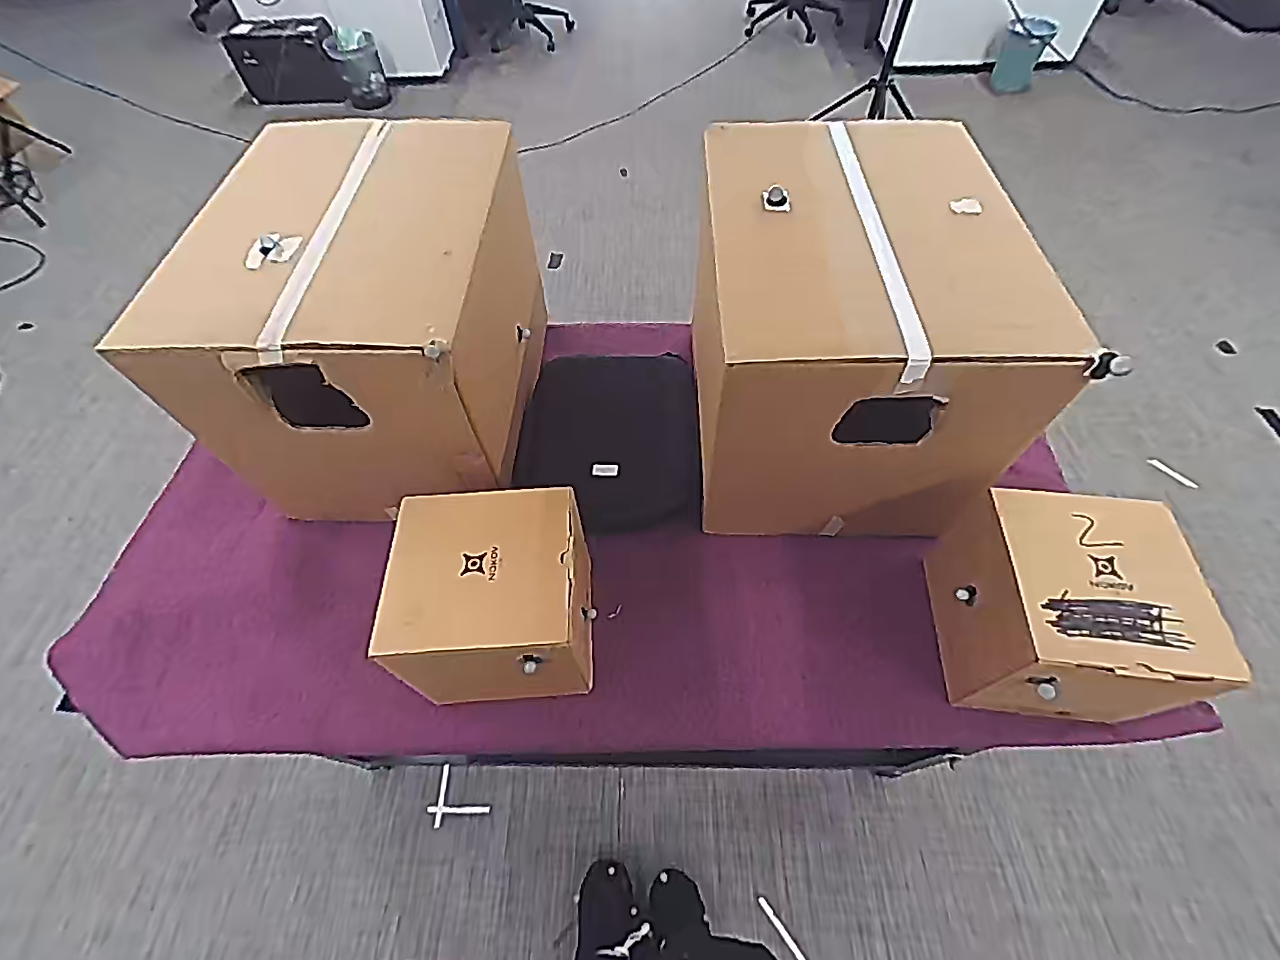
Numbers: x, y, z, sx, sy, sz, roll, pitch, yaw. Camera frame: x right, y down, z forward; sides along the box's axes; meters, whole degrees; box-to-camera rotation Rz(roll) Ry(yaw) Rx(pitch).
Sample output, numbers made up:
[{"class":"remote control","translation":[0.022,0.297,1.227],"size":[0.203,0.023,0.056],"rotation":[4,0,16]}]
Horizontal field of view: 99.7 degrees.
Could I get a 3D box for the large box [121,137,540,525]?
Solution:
[{"class":"large box","translation":[-0.319,-0.186,0.713],"size":[0.320,0.320,0.408],"rotation":[-1,59,1]}]
